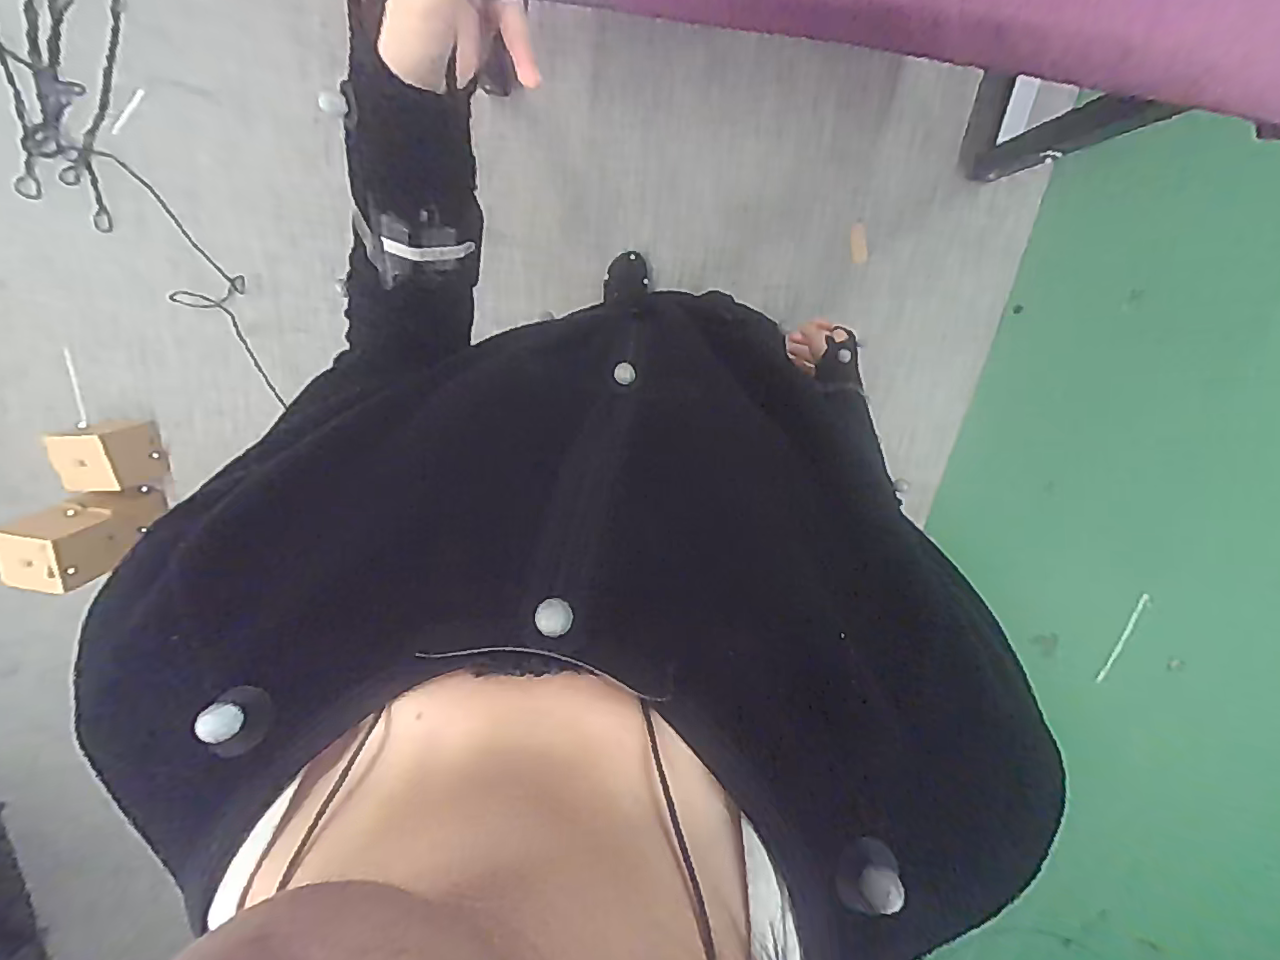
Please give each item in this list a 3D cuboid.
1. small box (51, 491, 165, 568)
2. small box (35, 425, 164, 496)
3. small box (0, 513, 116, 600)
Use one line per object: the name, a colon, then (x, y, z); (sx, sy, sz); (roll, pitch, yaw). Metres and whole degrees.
small box: (-1.598, 0.141, 1.636); (0.168, 0.176, 0.179); (9, 111, 2)
small box: (-1.549, -0.061, 1.562); (0.179, 0.176, 0.168); (-1, 110, 4)
small box: (-1.611, 0.202, 1.484); (0.179, 0.176, 0.168); (10, 110, 2)
